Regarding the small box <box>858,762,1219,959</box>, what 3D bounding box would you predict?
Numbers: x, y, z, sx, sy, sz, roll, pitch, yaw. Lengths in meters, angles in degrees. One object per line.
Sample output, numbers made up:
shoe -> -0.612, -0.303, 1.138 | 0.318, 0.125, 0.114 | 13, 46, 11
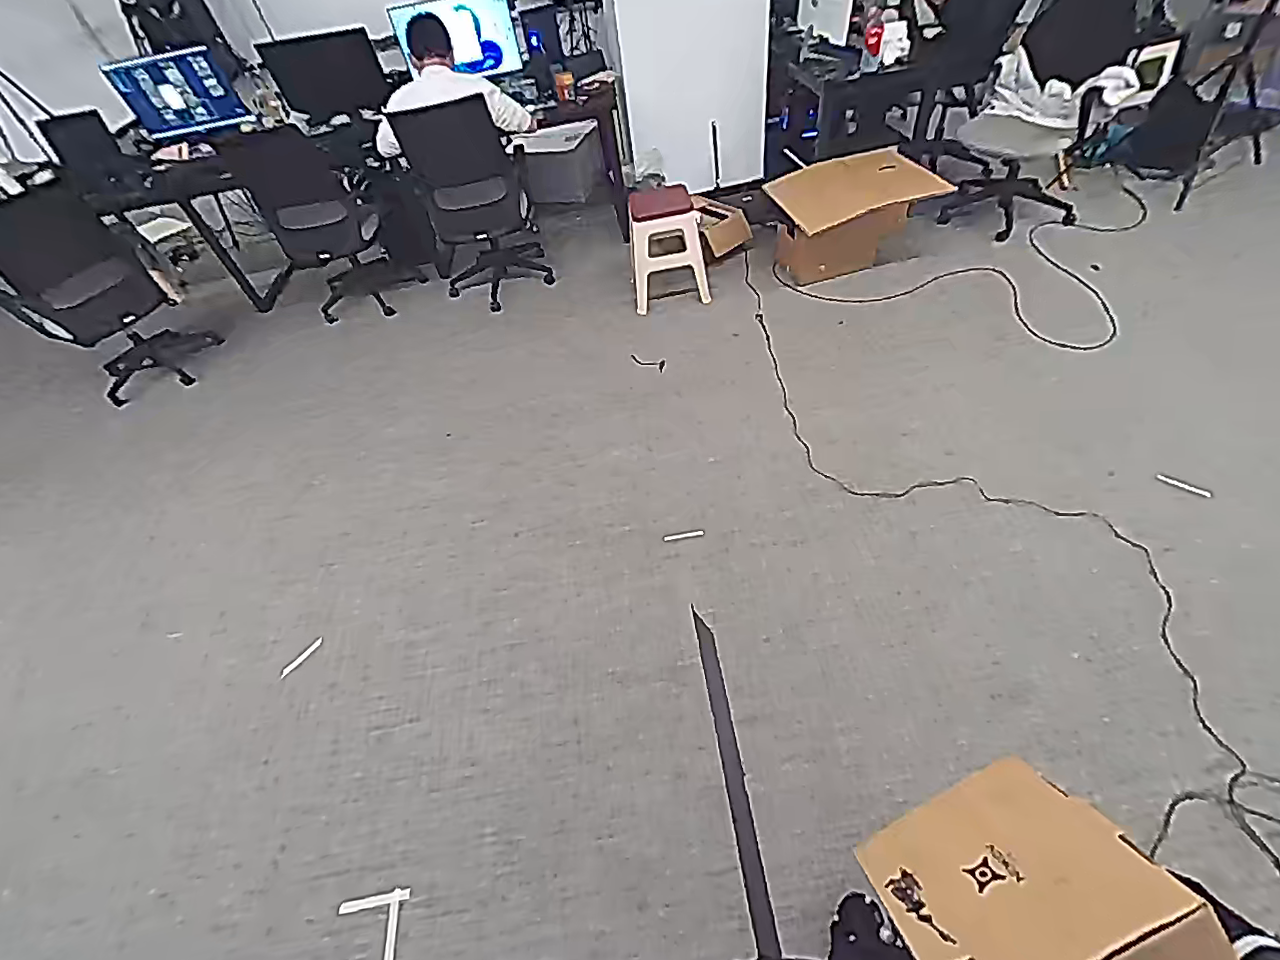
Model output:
small box -> 0.319, 0.379, 0.431 | 0.179, 0.168, 0.176 | -29, 93, -1
